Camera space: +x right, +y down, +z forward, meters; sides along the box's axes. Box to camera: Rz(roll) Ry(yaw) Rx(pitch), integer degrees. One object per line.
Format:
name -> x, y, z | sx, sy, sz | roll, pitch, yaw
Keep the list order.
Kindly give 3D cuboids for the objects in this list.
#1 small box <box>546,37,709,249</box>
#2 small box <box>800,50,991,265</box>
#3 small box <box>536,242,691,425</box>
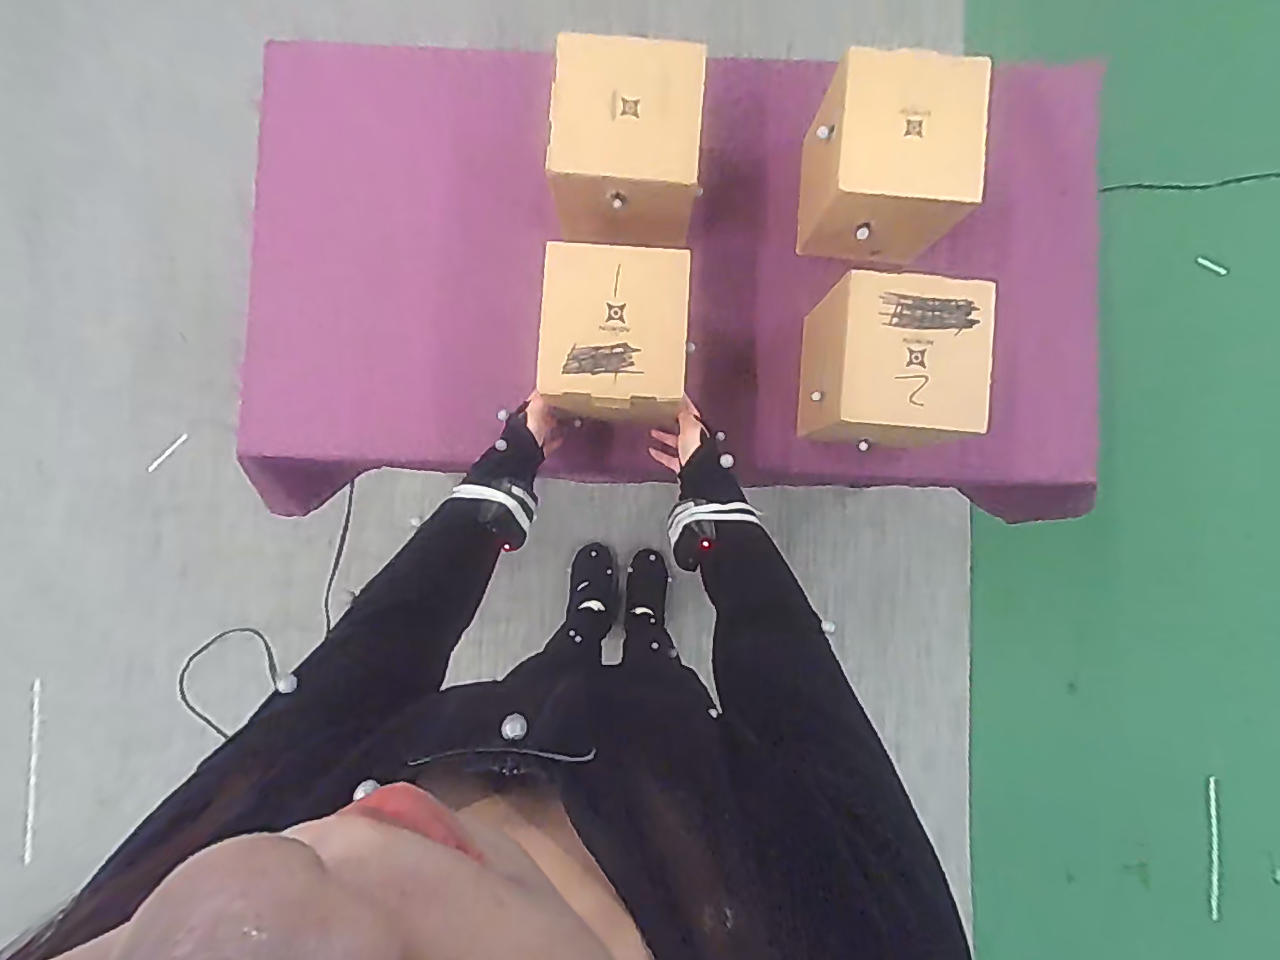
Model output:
small box -> -0.014, -0.419, 0.700 | 0.179, 0.176, 0.168 | 6, 88, -1
small box -> 0.313, -0.398, 0.697 | 0.168, 0.176, 0.179 | 5, 87, 1
small box -> -0.029, -0.170, 0.682 | 0.168, 0.176, 0.179 | 3, 85, -1
